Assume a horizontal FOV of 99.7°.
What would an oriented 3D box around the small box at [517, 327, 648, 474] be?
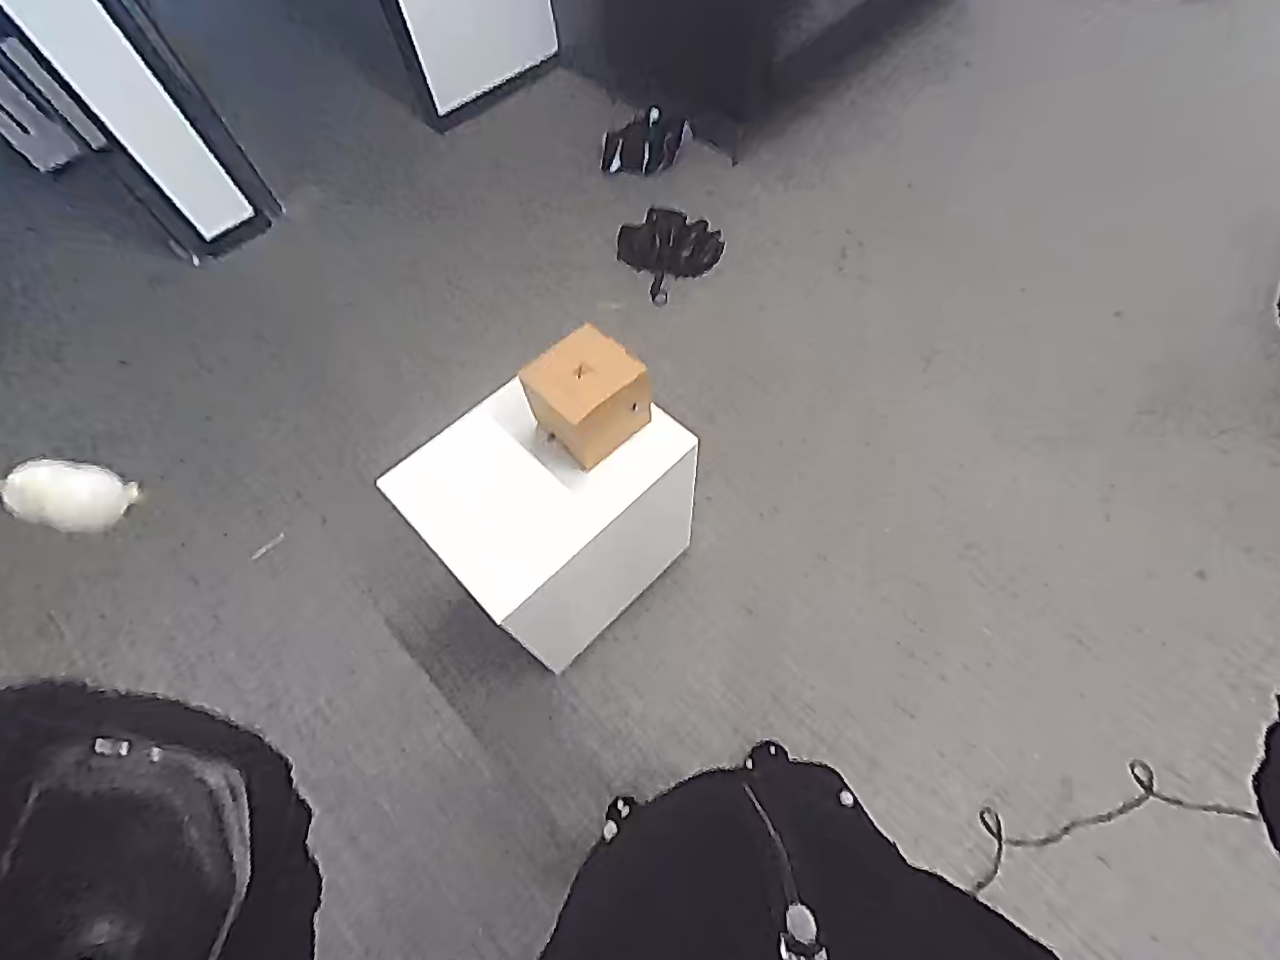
[{"bbox_3d":[-0.099,-0.147,1.029,0.179,0.176,0.168,-42,66,-16],"label":"small box"}]
